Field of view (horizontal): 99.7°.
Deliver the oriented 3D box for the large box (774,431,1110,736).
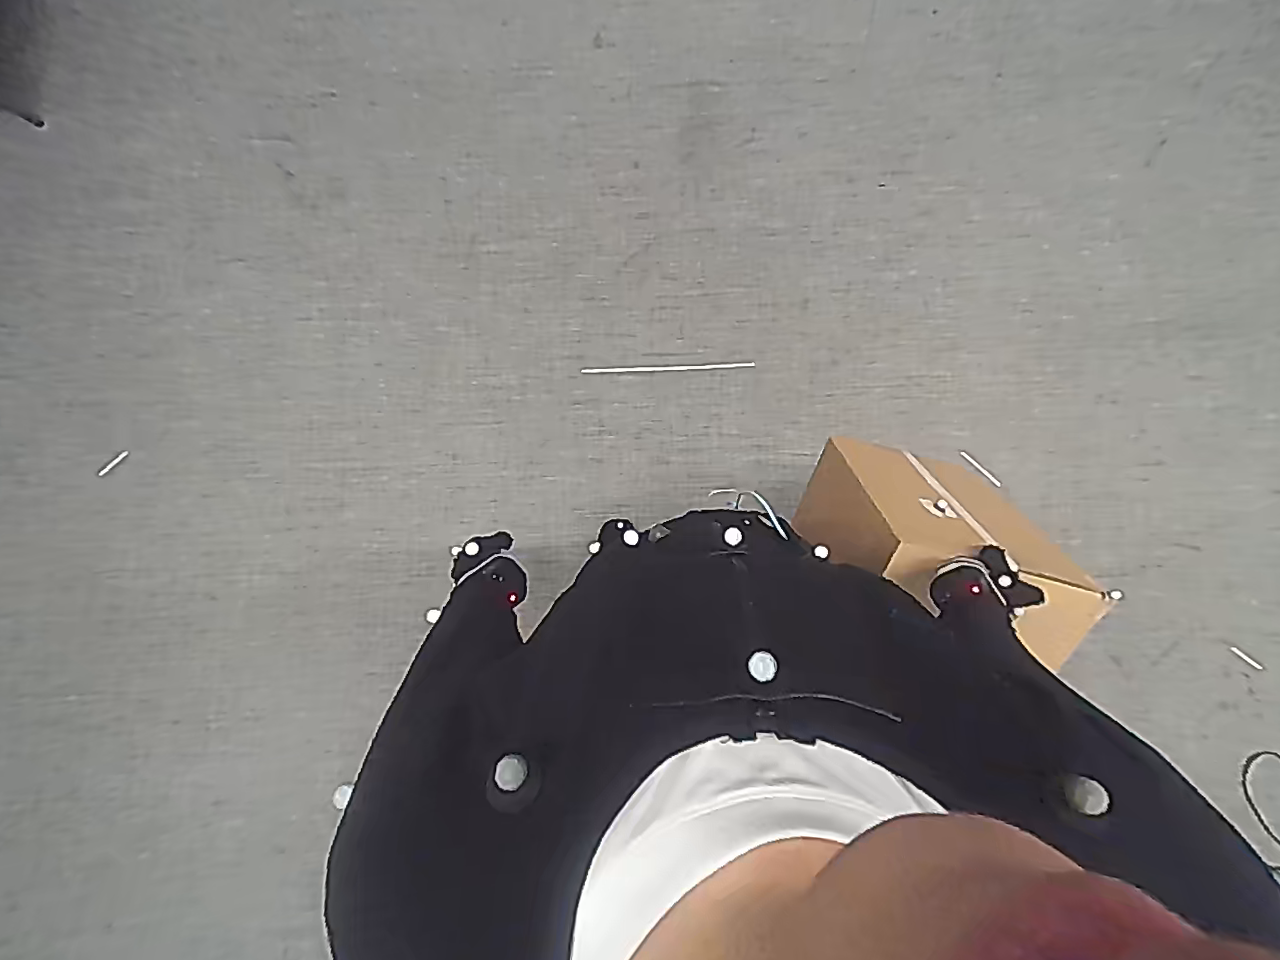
[{"bbox_3d":[0.465,0.159,0.965,0.320,0.408,0.320,14,117,-3],"label":"large box"}]
